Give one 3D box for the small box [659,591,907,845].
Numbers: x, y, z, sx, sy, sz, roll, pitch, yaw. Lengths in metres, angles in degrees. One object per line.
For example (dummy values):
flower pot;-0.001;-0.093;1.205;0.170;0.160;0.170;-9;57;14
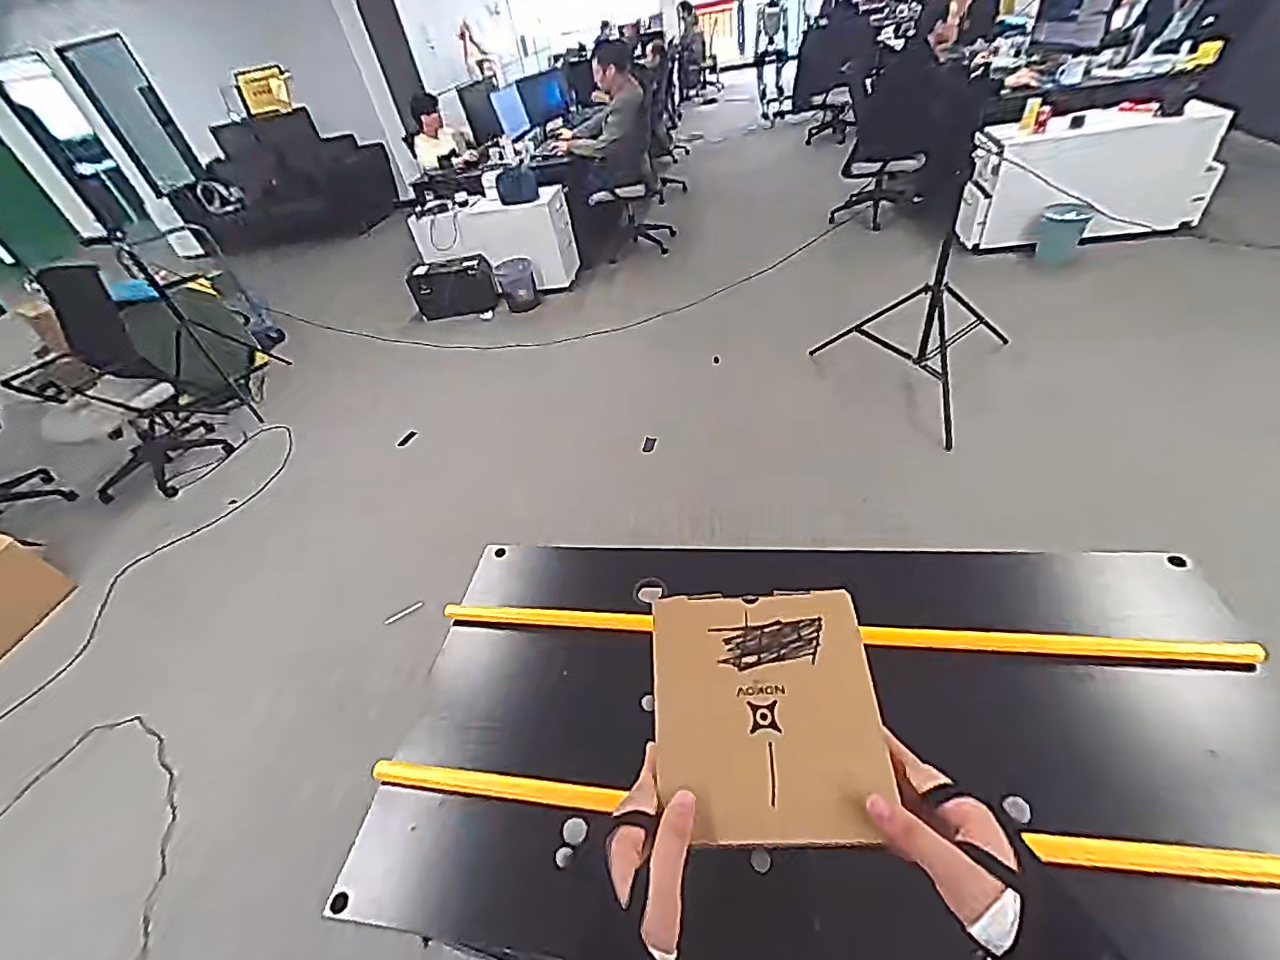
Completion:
small box;0.102;0.211;0.472;0.168;0.176;0.179;-3;56;5
